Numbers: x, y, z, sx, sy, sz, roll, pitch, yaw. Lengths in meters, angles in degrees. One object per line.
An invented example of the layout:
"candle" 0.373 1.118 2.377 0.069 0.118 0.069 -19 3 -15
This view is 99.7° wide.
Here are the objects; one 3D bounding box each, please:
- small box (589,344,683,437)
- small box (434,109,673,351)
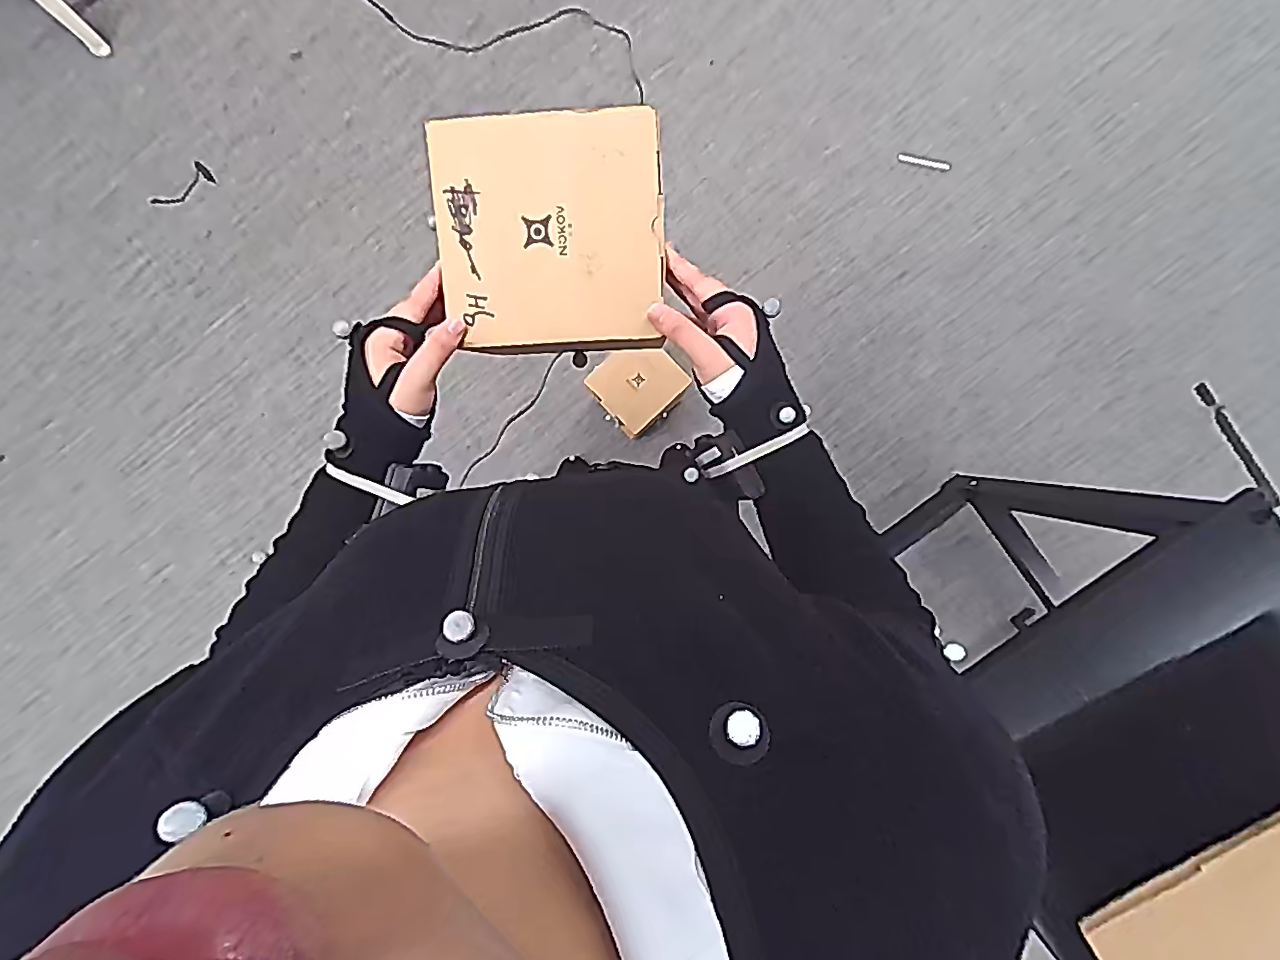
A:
"small box" -0.010 -0.227 1.406 0.179 0.176 0.168 -41 92 4
"small box" -0.065 -0.209 0.497 0.179 0.176 0.168 -3 101 1
